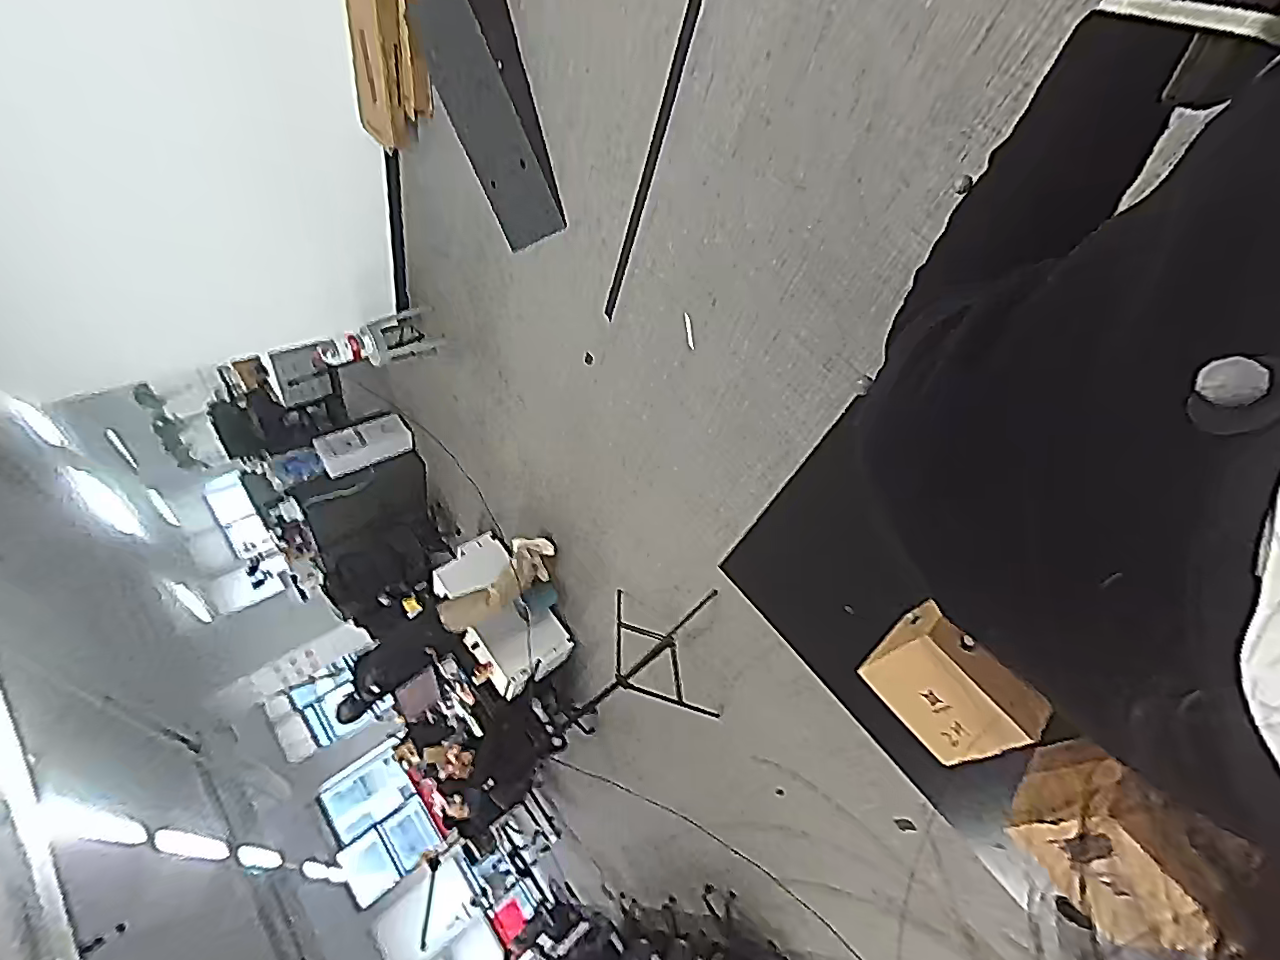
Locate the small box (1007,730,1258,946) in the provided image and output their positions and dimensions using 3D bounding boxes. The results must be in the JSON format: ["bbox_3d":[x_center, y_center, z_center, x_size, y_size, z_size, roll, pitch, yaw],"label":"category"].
[{"bbox_3d":[0.655,0.466,0.728,0.179,0.176,0.168,48,144,18],"label":"small box"}]

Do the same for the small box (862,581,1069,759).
[{"bbox_3d":[0.485,0.276,0.814,0.179,0.176,0.168,48,145,20],"label":"small box"}]
